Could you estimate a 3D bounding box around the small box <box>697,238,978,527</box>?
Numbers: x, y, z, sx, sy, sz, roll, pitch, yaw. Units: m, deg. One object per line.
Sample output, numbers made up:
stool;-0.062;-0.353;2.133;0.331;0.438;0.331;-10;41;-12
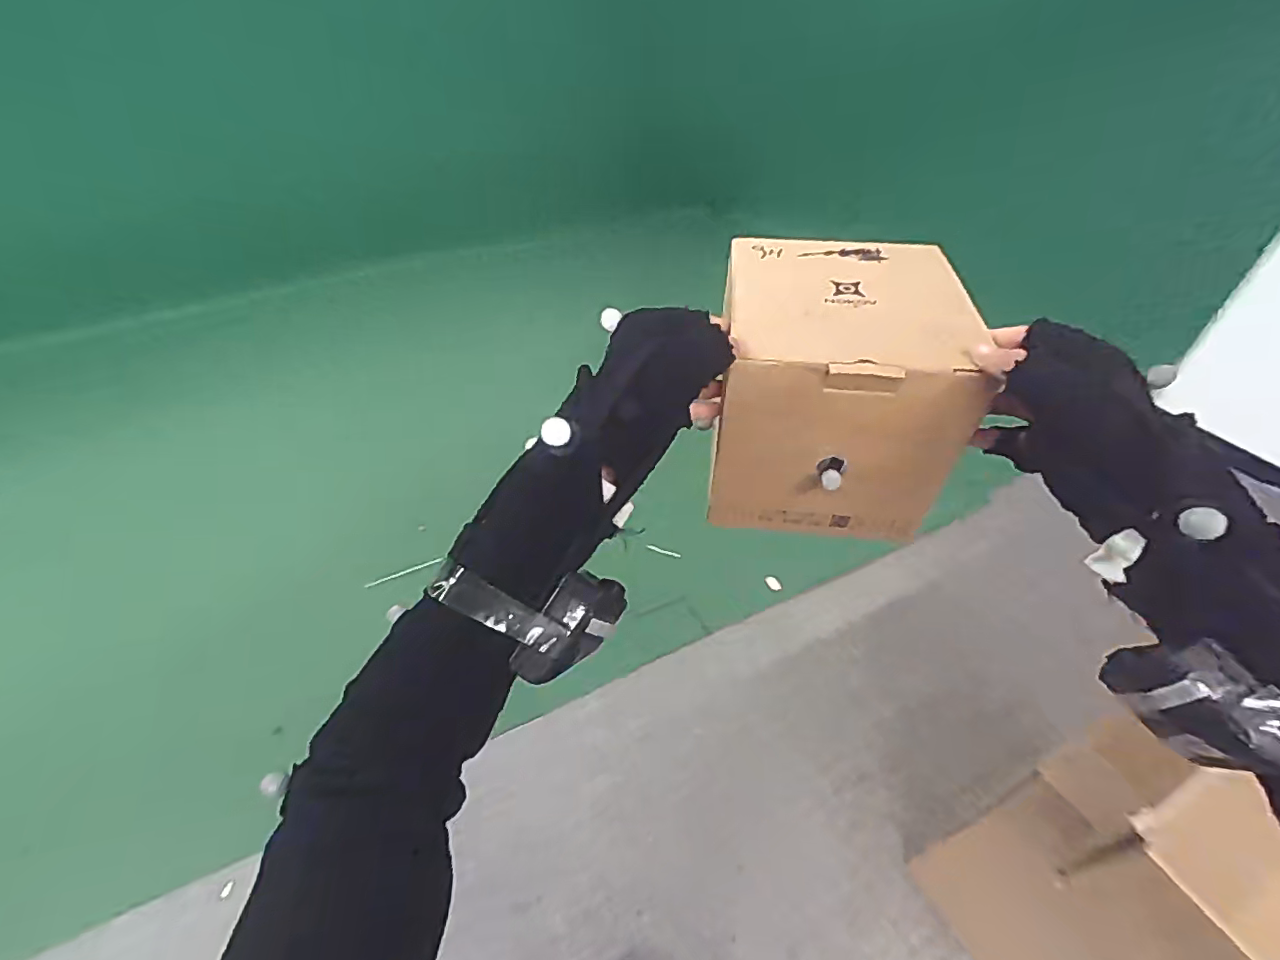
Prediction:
small box;0.137;-0.079;0.449;0.168;0.176;0.179;4;48;5
